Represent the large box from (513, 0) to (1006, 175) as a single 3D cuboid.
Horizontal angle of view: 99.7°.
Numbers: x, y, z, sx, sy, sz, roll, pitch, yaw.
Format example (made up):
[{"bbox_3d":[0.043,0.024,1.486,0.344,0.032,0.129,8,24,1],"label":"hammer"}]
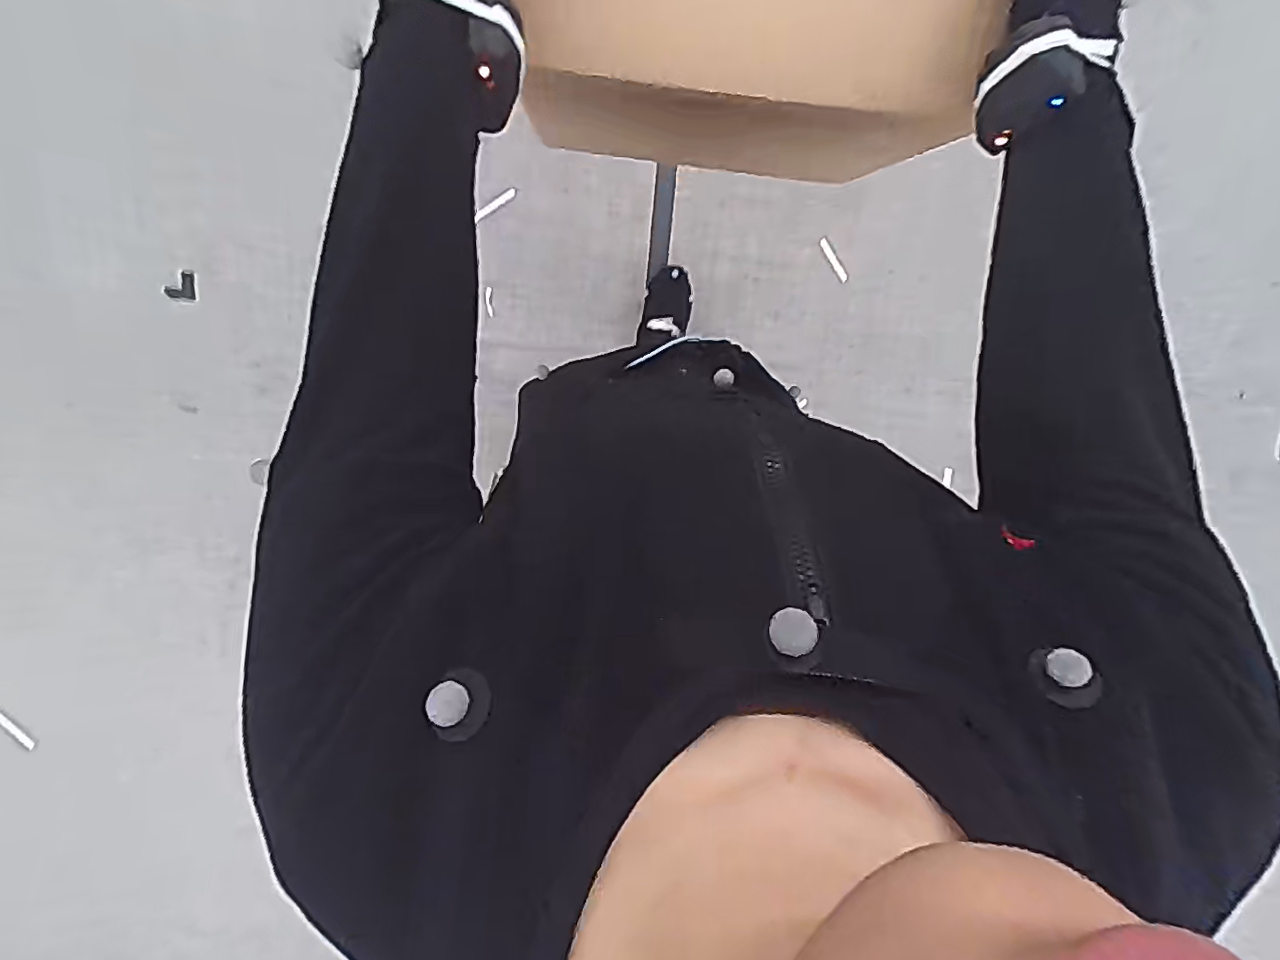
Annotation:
[{"bbox_3d":[0.094,-0.517,0.535,0.408,0.320,0.320,3,112,-6],"label":"large box"}]
